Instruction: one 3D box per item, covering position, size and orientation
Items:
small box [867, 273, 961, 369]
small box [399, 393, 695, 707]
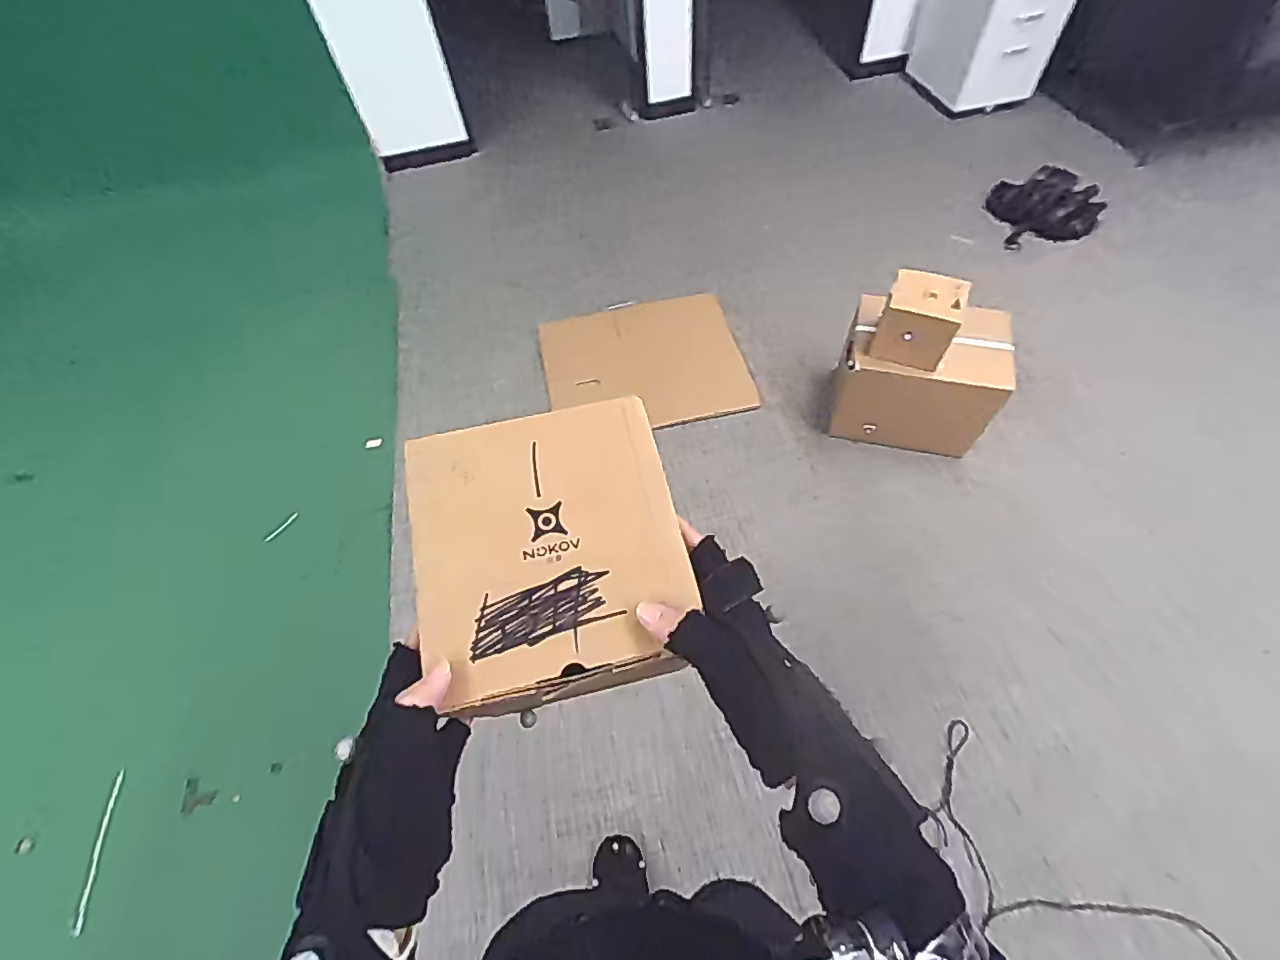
[{"bbox_3d":[0.720,-0.417,1.431,0.179,0.176,0.168,16,59,14],"label":"small box"},{"bbox_3d":[-0.065,0.063,0.421,0.168,0.176,0.179,-14,68,-7],"label":"small box"}]
